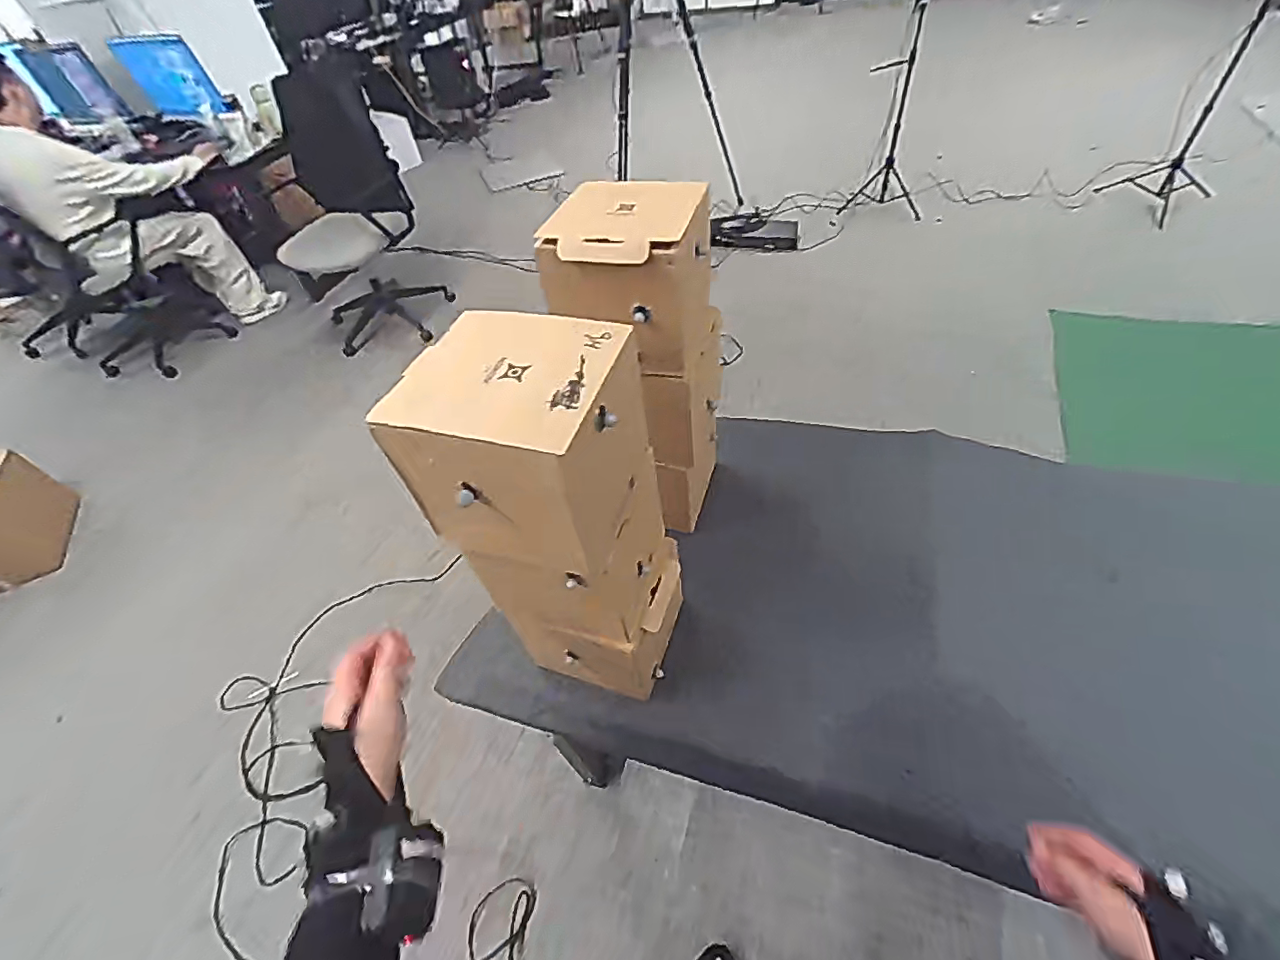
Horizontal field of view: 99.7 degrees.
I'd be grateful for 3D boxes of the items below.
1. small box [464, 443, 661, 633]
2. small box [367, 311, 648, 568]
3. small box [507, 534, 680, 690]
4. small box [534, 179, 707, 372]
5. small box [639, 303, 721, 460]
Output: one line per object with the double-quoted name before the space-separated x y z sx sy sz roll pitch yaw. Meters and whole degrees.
"small box" -0.082 0.061 0.639 0.179 0.176 0.168 8 51 15
"small box" -0.103 -0.037 0.509 0.179 0.176 0.168 10 51 16
"small box" -0.049 0.171 0.754 0.179 0.176 0.168 11 52 18
"small box" -0.009 -0.256 0.682 0.168 0.176 0.179 8 50 14
"small box" 0.017 -0.150 0.802 0.179 0.176 0.168 11 53 17
